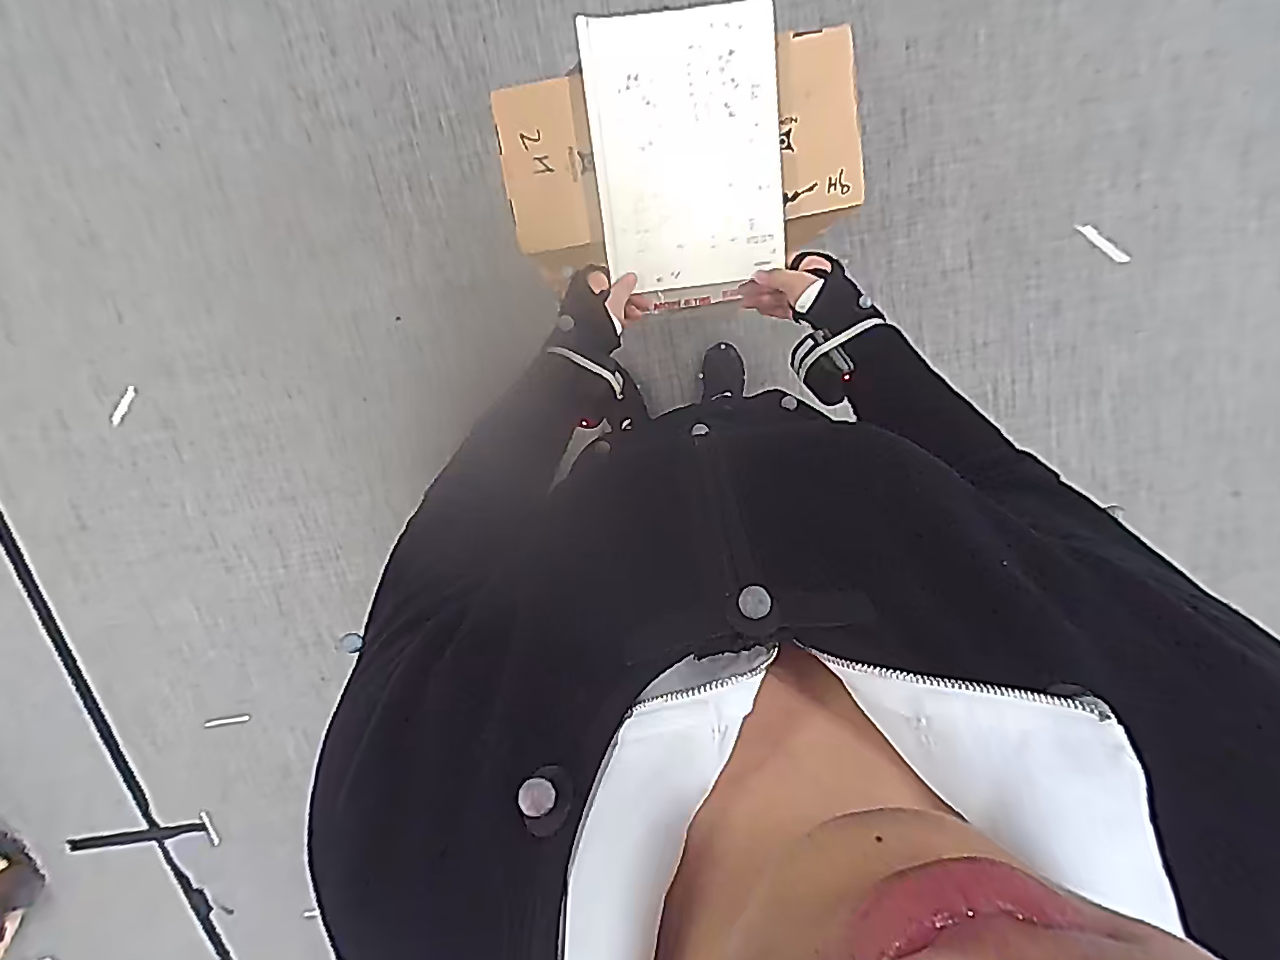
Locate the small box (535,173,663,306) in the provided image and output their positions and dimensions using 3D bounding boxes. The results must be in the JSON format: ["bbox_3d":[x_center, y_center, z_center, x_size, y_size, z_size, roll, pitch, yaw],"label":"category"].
[{"bbox_3d":[-0.055,-0.367,0.853,0.179,0.176,0.168,-3,105,4],"label":"small box"}]

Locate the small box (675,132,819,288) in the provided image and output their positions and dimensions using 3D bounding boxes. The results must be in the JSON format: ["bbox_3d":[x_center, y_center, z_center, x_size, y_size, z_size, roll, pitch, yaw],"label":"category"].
[{"bbox_3d":[0.158,-0.404,0.839,0.179,0.176,0.168,-12,104,3],"label":"small box"}]
